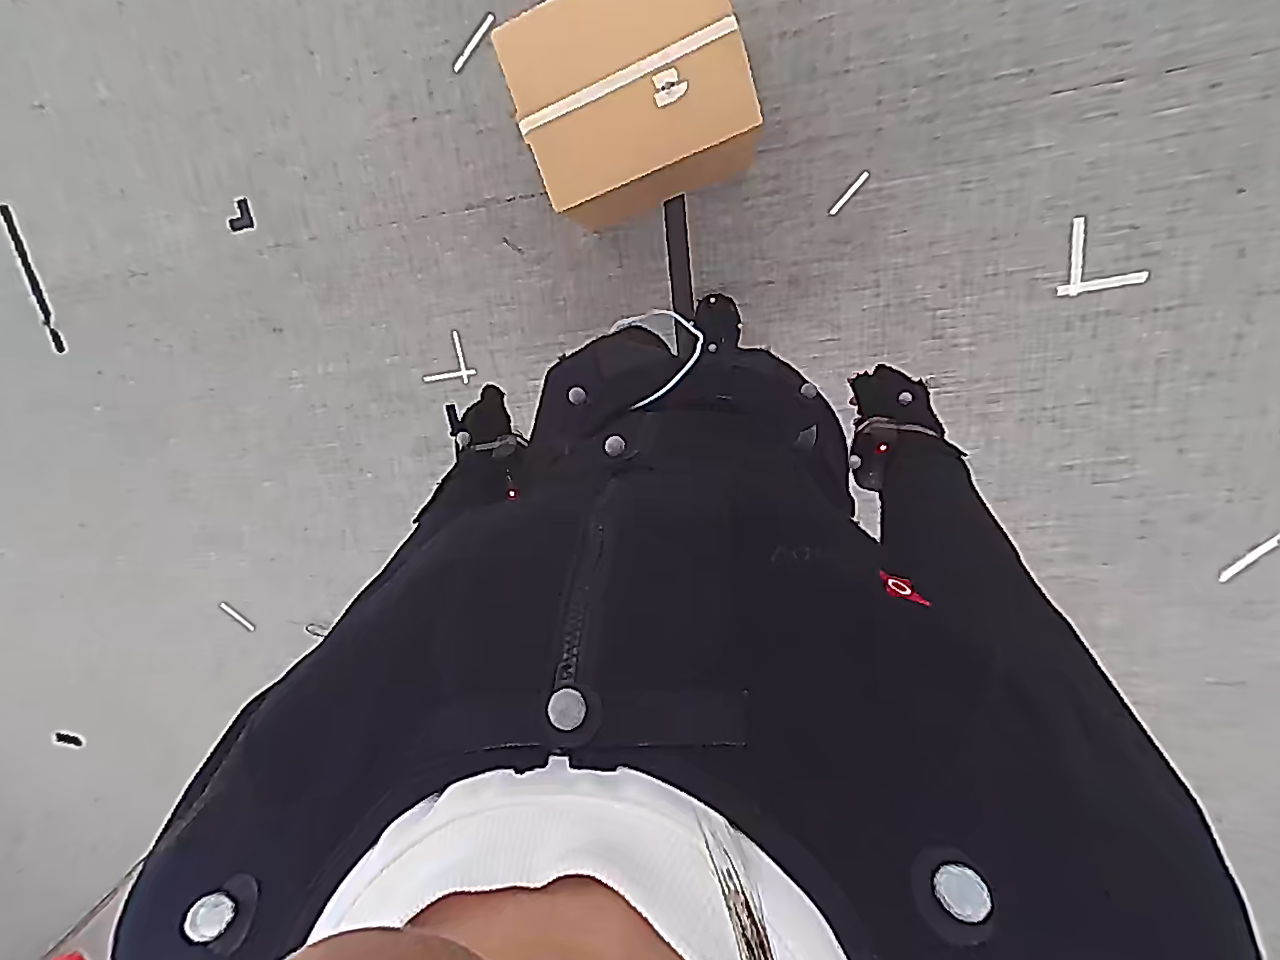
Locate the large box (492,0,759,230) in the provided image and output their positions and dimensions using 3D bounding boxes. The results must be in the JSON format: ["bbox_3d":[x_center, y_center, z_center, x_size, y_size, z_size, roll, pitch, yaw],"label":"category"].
[{"bbox_3d":[-0.010,-0.748,1.080,0.408,0.320,0.320,-17,106,12],"label":"large box"}]
